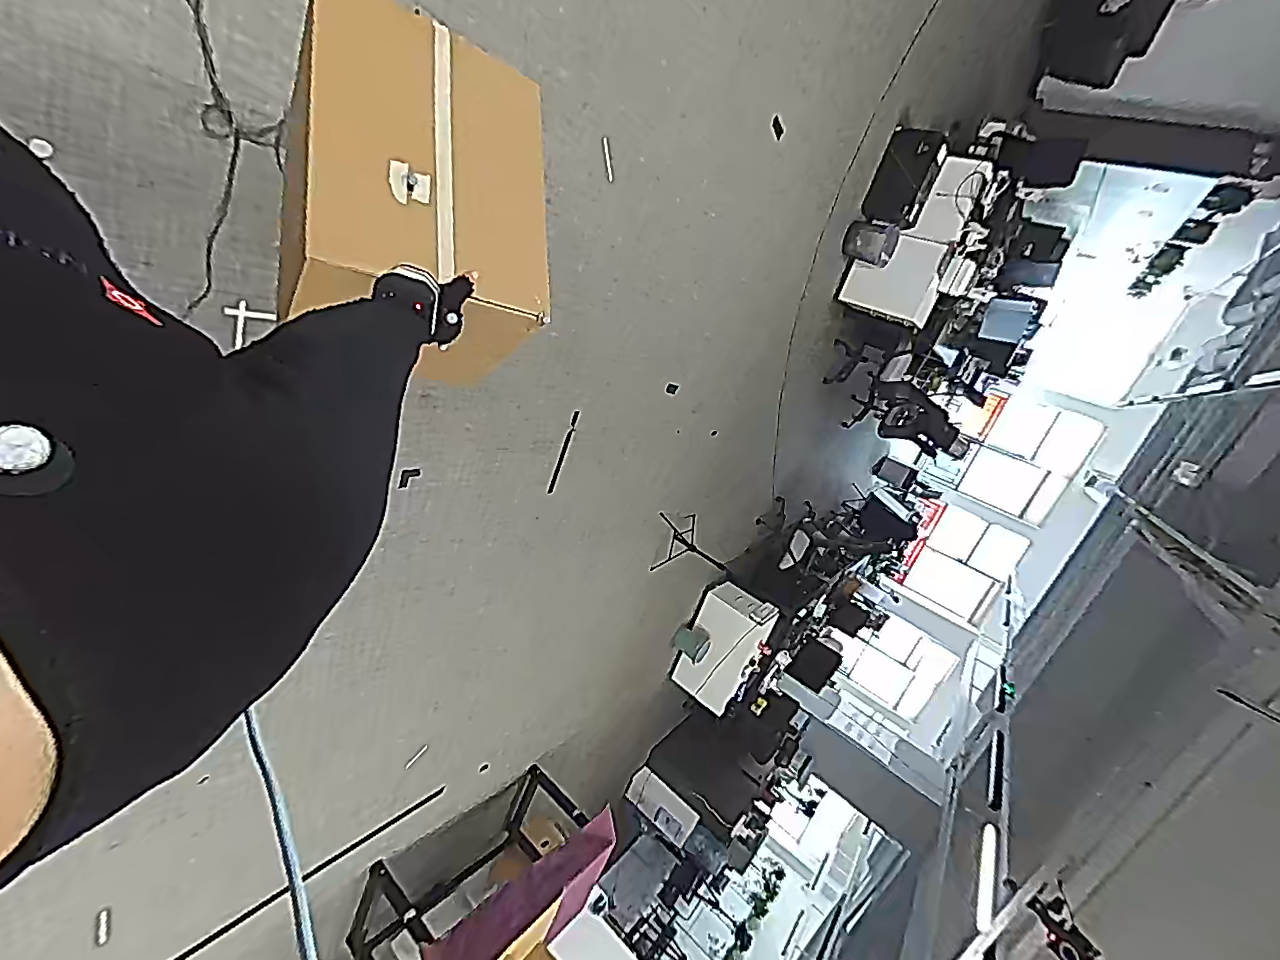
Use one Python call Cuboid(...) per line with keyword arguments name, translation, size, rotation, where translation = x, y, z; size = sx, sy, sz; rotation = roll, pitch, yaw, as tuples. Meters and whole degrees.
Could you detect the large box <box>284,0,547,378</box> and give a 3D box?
Cuboid(name="large box", translation=(-0.367, -0.420, 0.867), size=(0.320, 0.320, 0.408), rotation=(3, 79, -39))
